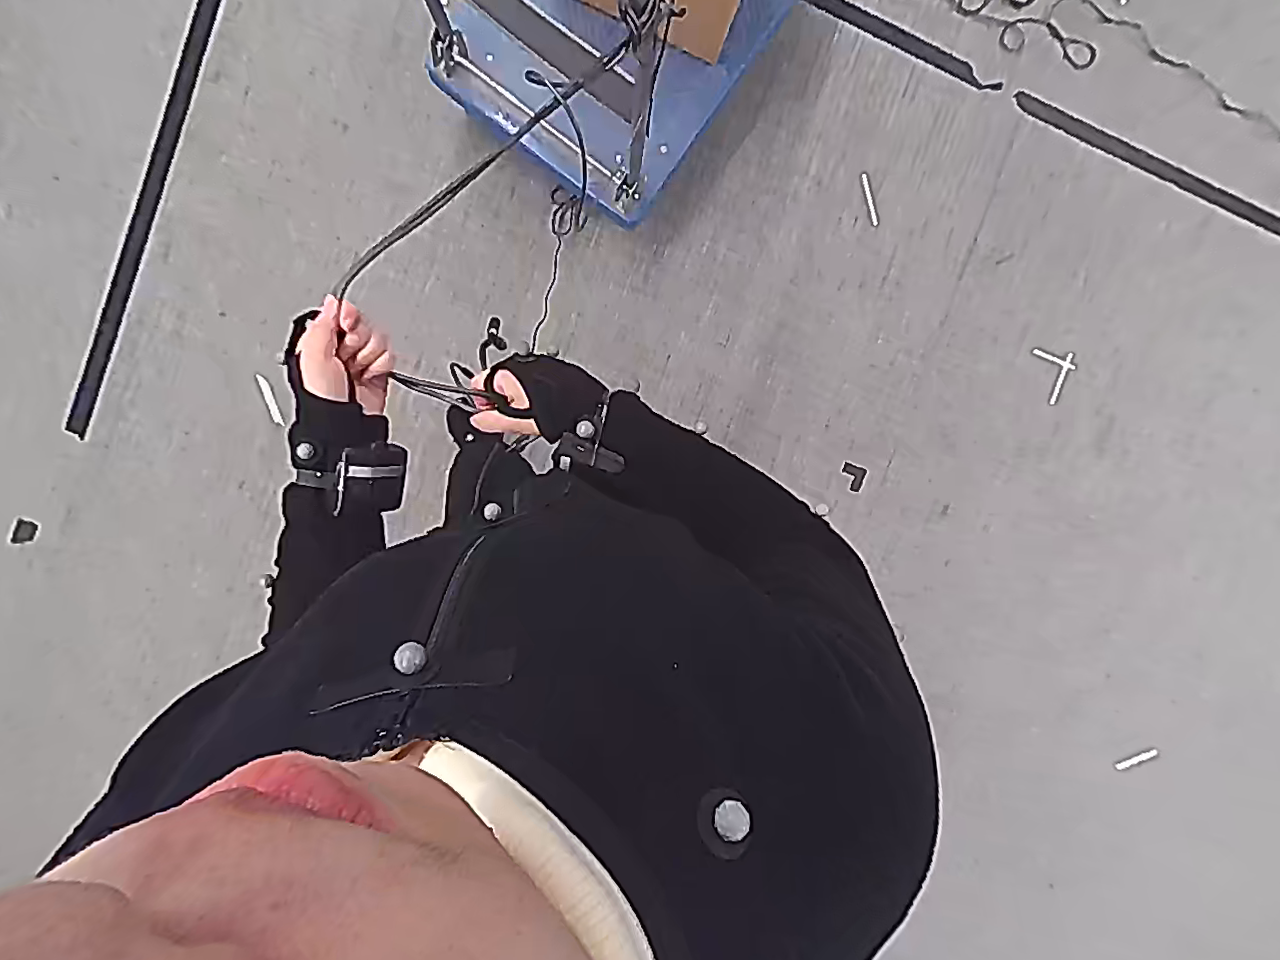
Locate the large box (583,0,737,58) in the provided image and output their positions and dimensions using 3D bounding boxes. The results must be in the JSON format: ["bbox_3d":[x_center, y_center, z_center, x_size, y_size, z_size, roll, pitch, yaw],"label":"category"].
[{"bbox_3d":[0.049,-1.152,1.057,0.408,0.320,0.320,21,93,-7],"label":"large box"}]
